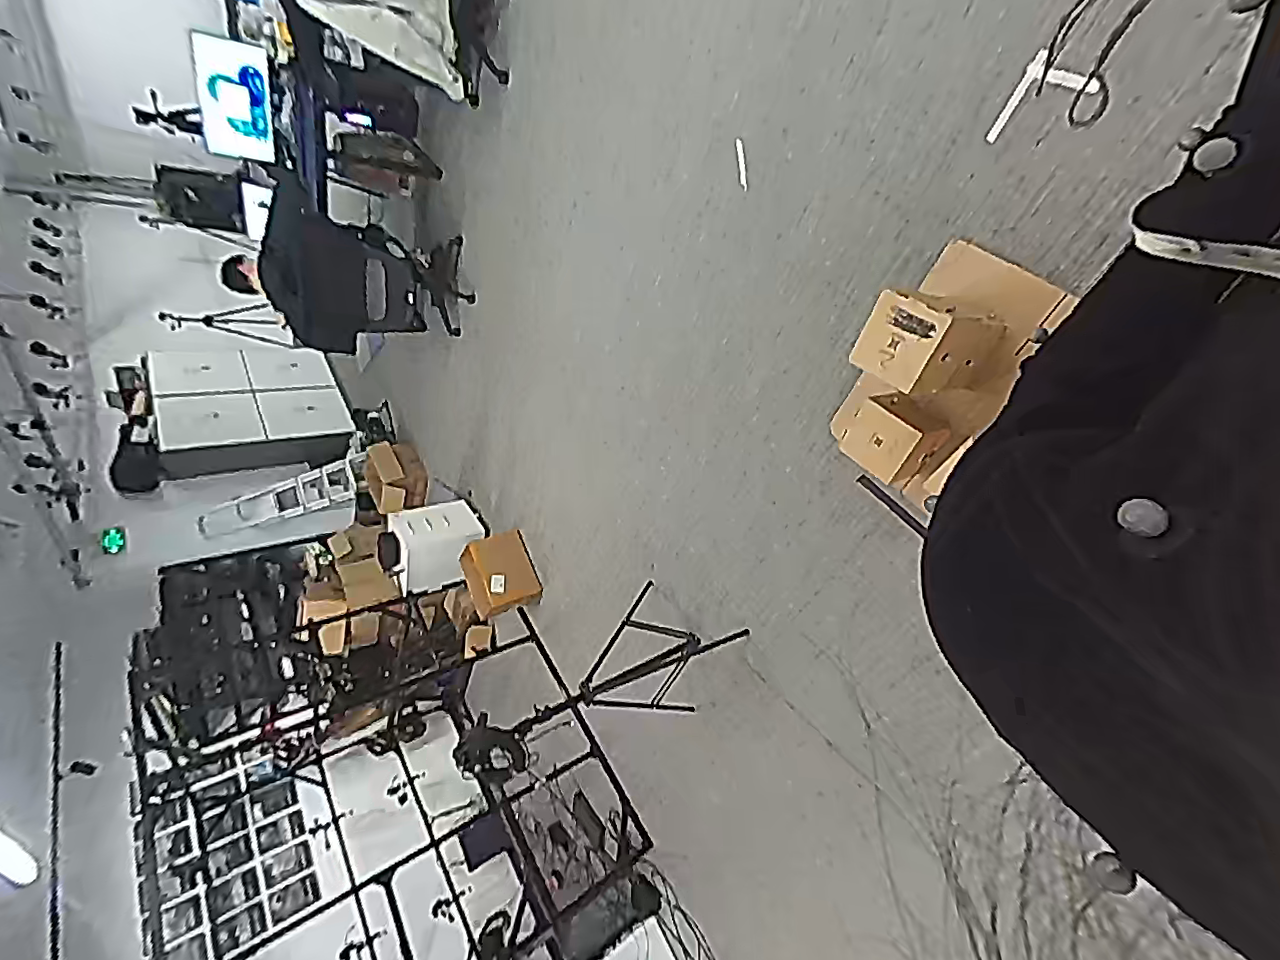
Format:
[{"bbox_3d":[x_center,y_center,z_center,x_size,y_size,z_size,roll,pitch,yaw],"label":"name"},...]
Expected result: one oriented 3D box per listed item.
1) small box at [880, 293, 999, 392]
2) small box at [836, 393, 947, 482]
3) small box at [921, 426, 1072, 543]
[{"bbox_3d":[0.730,-0.335,1.313,0.168,0.176,0.179,46,133,33],"label":"small box"},{"bbox_3d":[0.671,-0.120,1.446,0.179,0.176,0.168,45,134,34],"label":"small box"},{"bbox_3d":[0.740,0.001,1.126,0.179,0.176,0.168,53,136,27],"label":"small box"}]
